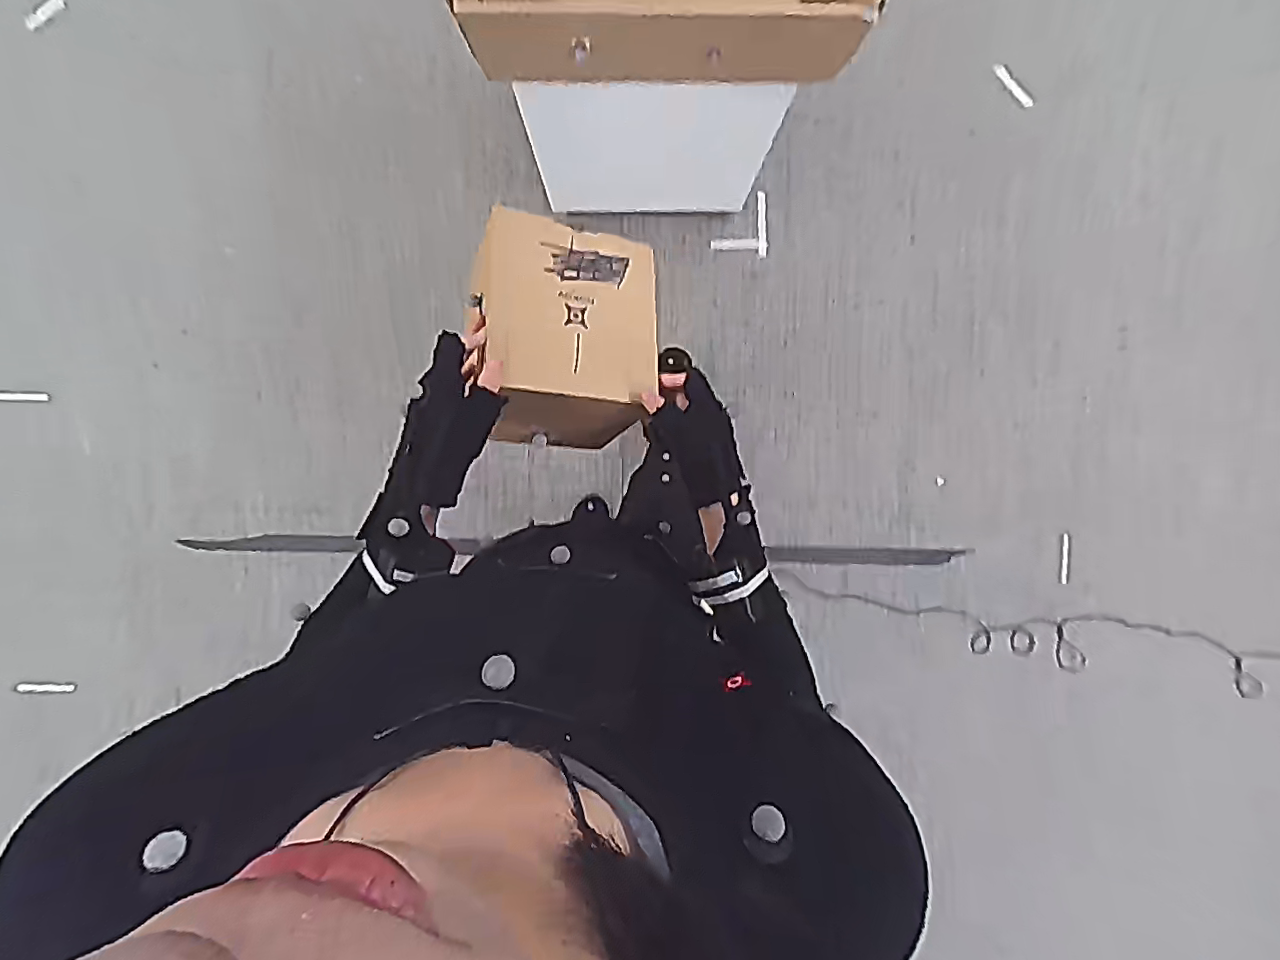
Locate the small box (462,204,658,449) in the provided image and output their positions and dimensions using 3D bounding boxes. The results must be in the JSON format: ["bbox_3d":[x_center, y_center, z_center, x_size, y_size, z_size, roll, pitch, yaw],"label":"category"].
[{"bbox_3d":[-0.092,-0.145,0.576,0.168,0.176,0.179,5,76,-25],"label":"small box"}]
